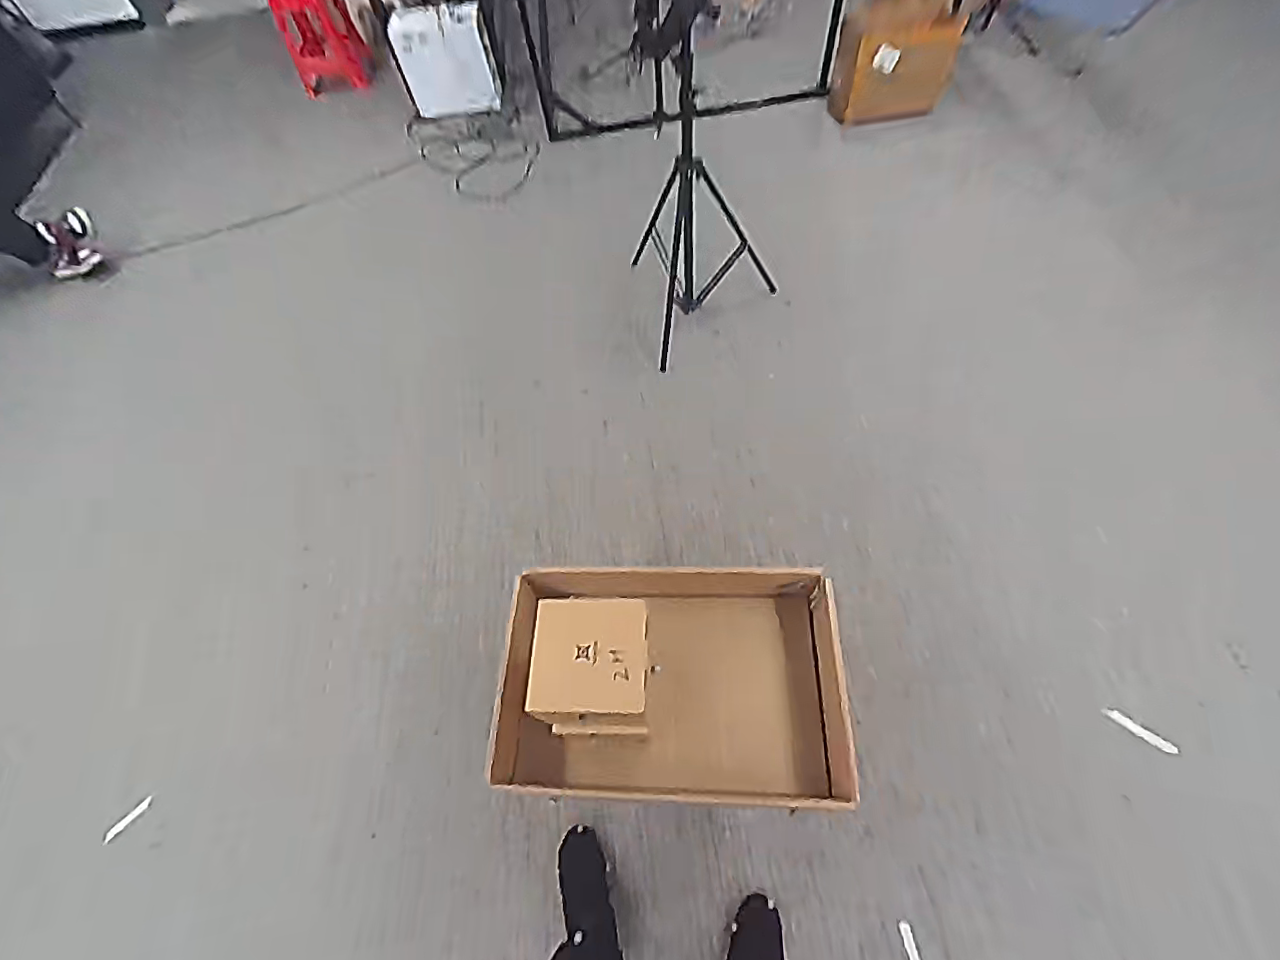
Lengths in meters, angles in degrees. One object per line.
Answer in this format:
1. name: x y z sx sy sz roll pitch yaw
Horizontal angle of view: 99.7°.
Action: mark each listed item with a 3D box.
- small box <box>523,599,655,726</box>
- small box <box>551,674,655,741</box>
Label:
1. small box: -0.071 0.297 0.871 0.179 0.176 0.168 0 60 5
2. small box: -0.060 0.386 1.010 0.168 0.176 0.179 -2 60 4
